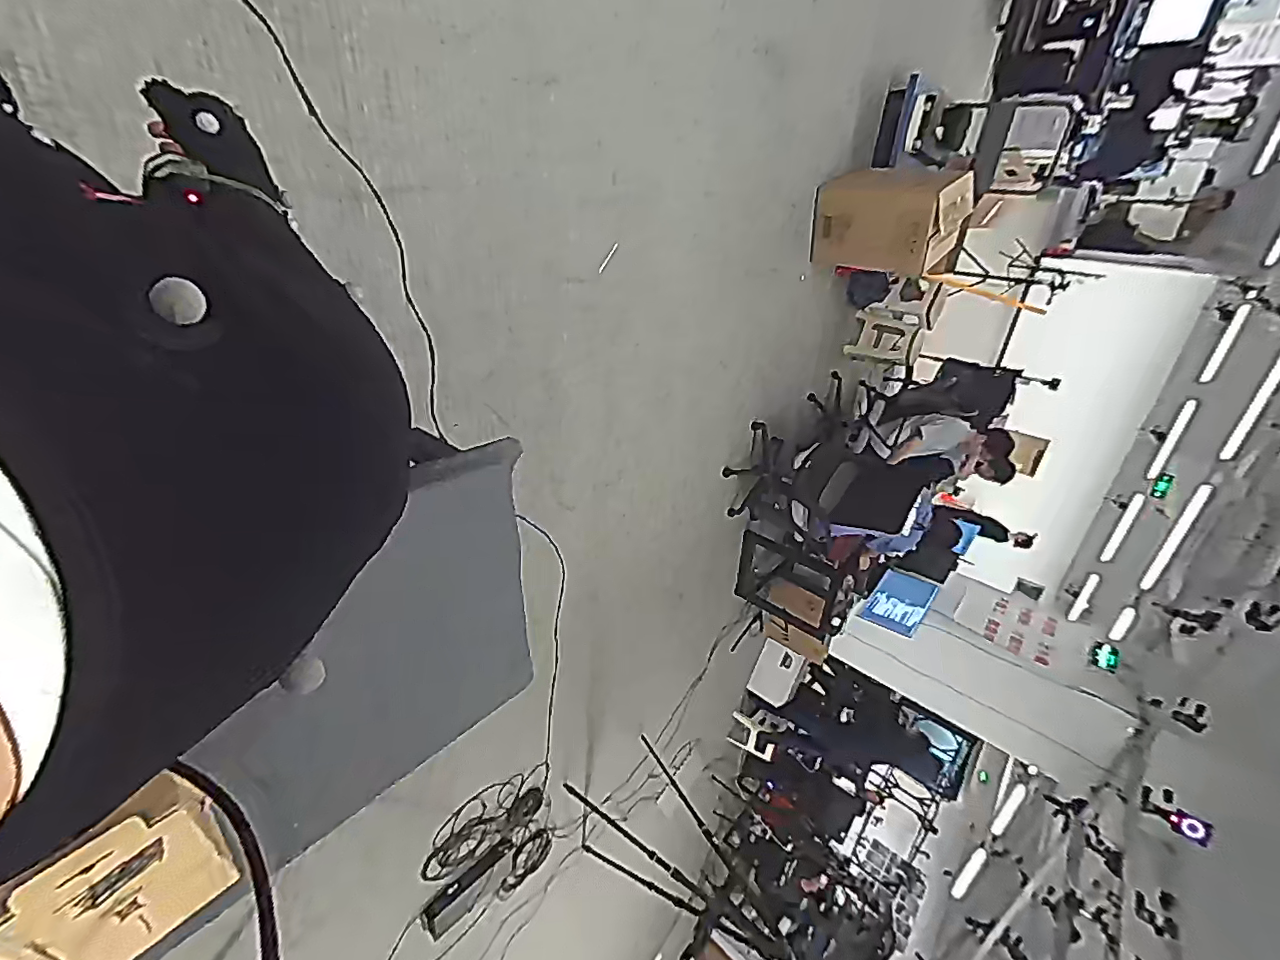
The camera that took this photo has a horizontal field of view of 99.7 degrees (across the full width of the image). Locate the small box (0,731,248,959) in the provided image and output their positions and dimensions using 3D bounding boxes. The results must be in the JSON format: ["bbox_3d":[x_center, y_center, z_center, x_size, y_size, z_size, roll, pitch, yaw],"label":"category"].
[{"bbox_3d":[-0.616,0.436,0.642,0.168,0.176,0.179,-31,134,-40],"label":"small box"}]
